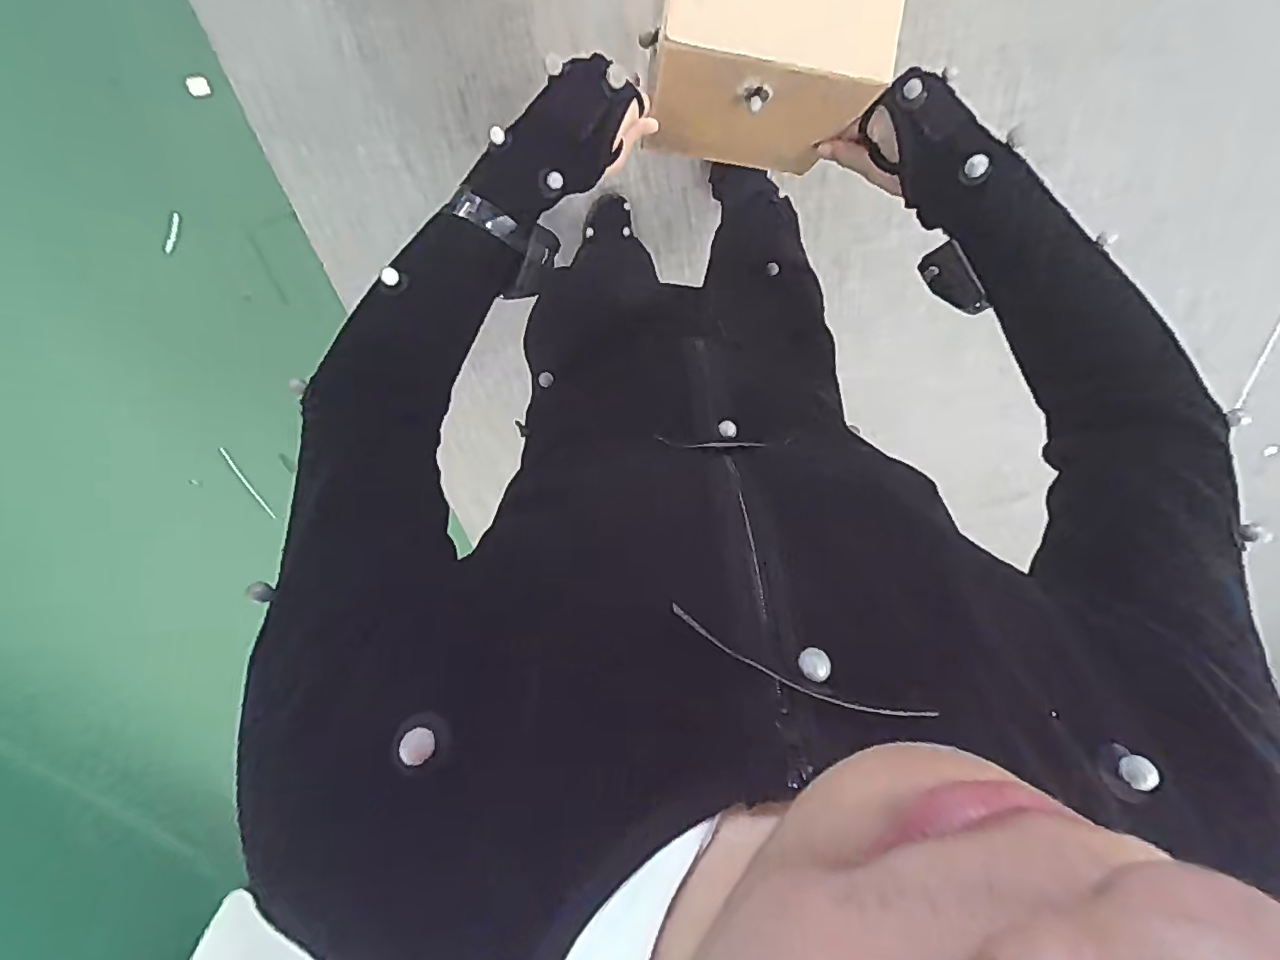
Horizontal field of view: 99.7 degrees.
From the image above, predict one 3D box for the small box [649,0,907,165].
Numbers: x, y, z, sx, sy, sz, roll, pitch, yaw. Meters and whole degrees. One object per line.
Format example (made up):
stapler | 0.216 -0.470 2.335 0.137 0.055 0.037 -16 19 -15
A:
small box | 0.107 -0.401 0.464 0.179 0.176 0.168 7 97 -7
